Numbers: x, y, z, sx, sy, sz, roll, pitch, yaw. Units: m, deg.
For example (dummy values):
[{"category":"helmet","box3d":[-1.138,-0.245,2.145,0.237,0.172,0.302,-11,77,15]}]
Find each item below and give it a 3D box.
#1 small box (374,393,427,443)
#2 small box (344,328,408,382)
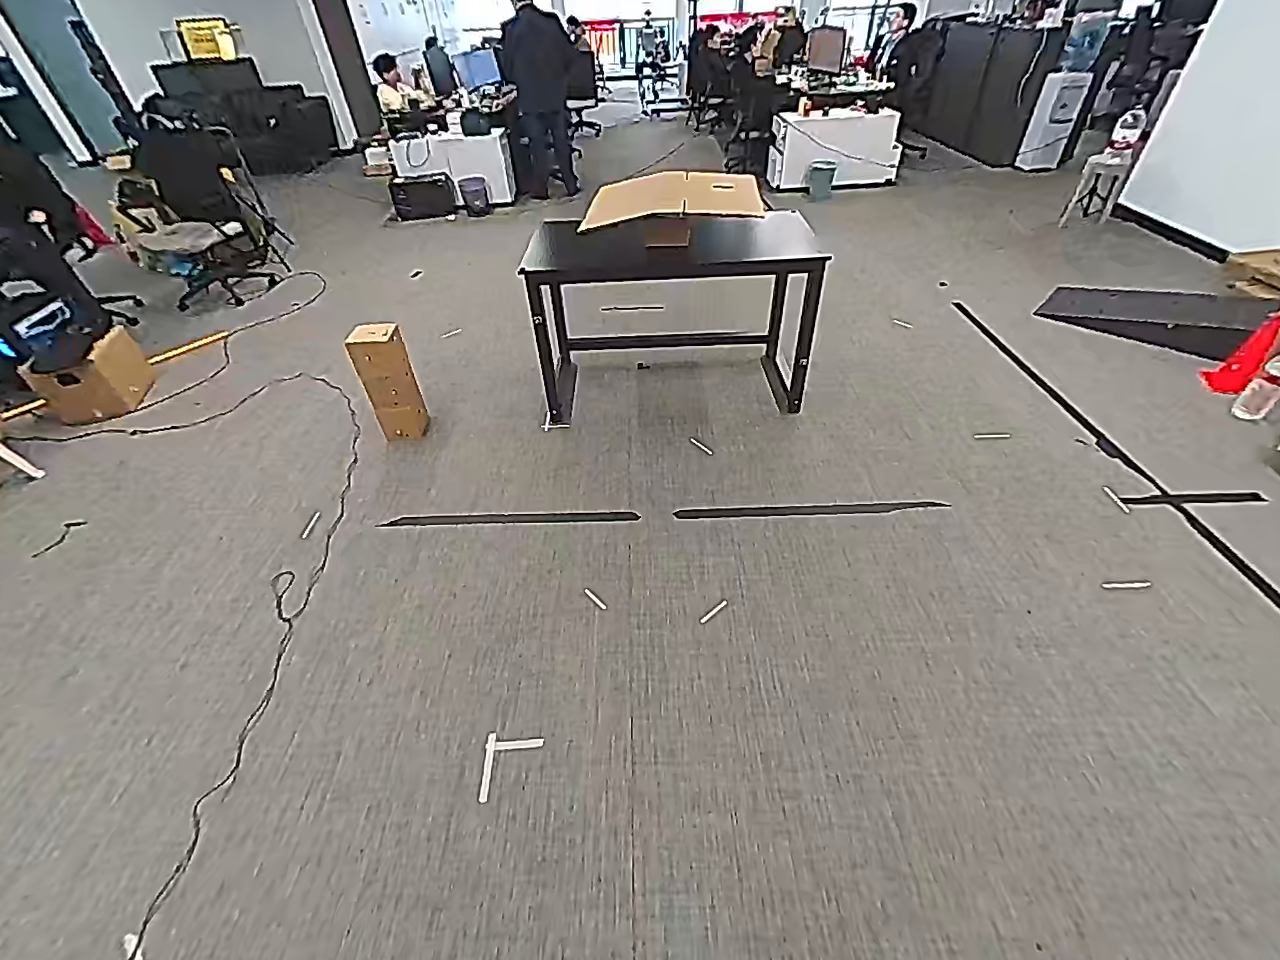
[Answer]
[{"category":"small box","box3d":[-1.122,-0.293,2.552,0.168,0.176,0.179,-5,42,-1]},{"category":"small box","box3d":[-1.135,-0.538,2.338,0.179,0.176,0.168,-5,42,-2]}]
